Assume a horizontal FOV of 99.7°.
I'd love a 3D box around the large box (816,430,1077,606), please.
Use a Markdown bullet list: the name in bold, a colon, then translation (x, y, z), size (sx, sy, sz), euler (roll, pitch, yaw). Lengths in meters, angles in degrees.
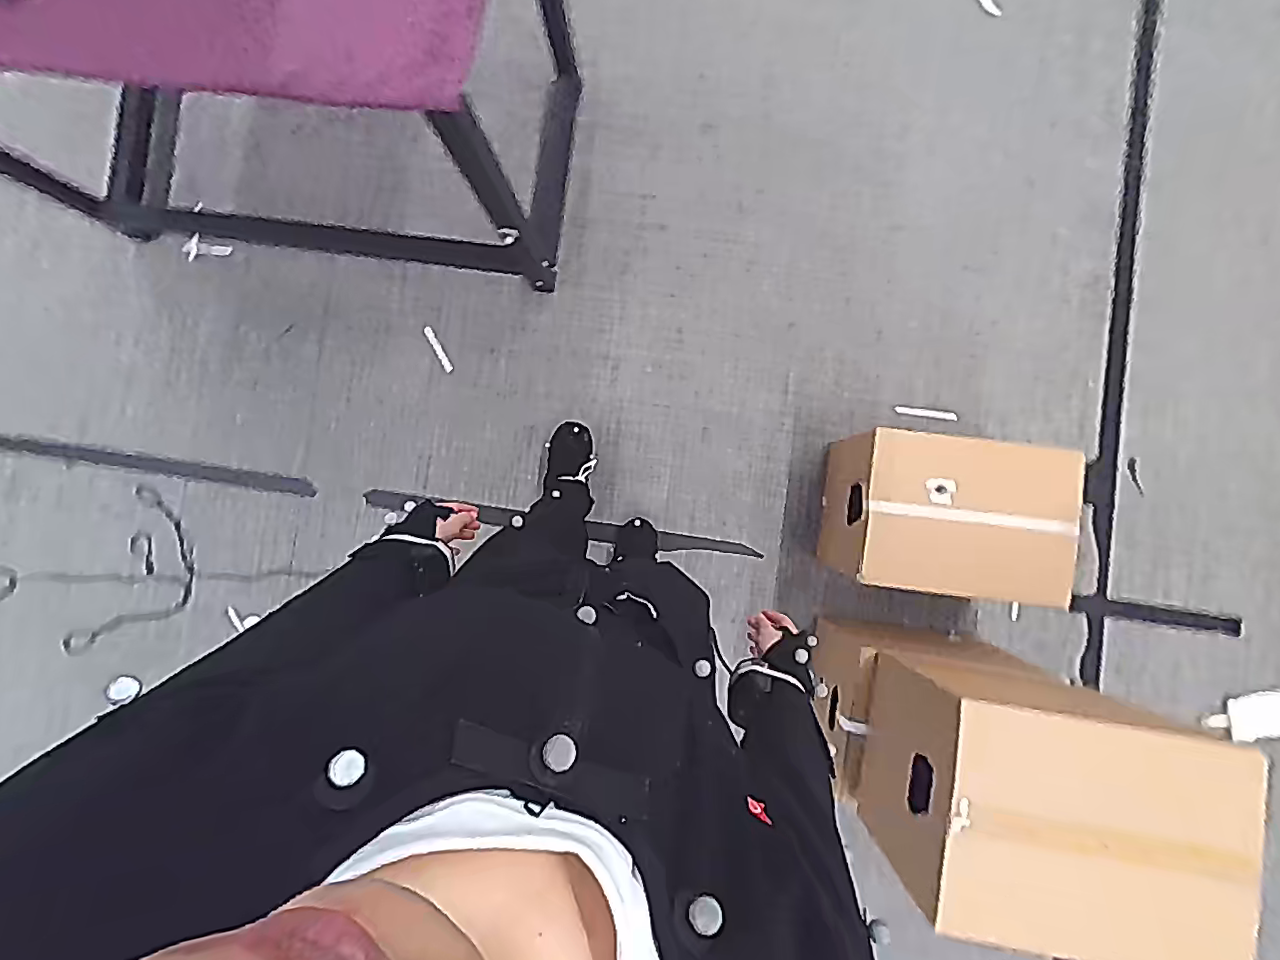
- **large box**: translation (0.645, 0.075, 1.203), size (0.408, 0.320, 0.320), euler (7, 88, 4)
